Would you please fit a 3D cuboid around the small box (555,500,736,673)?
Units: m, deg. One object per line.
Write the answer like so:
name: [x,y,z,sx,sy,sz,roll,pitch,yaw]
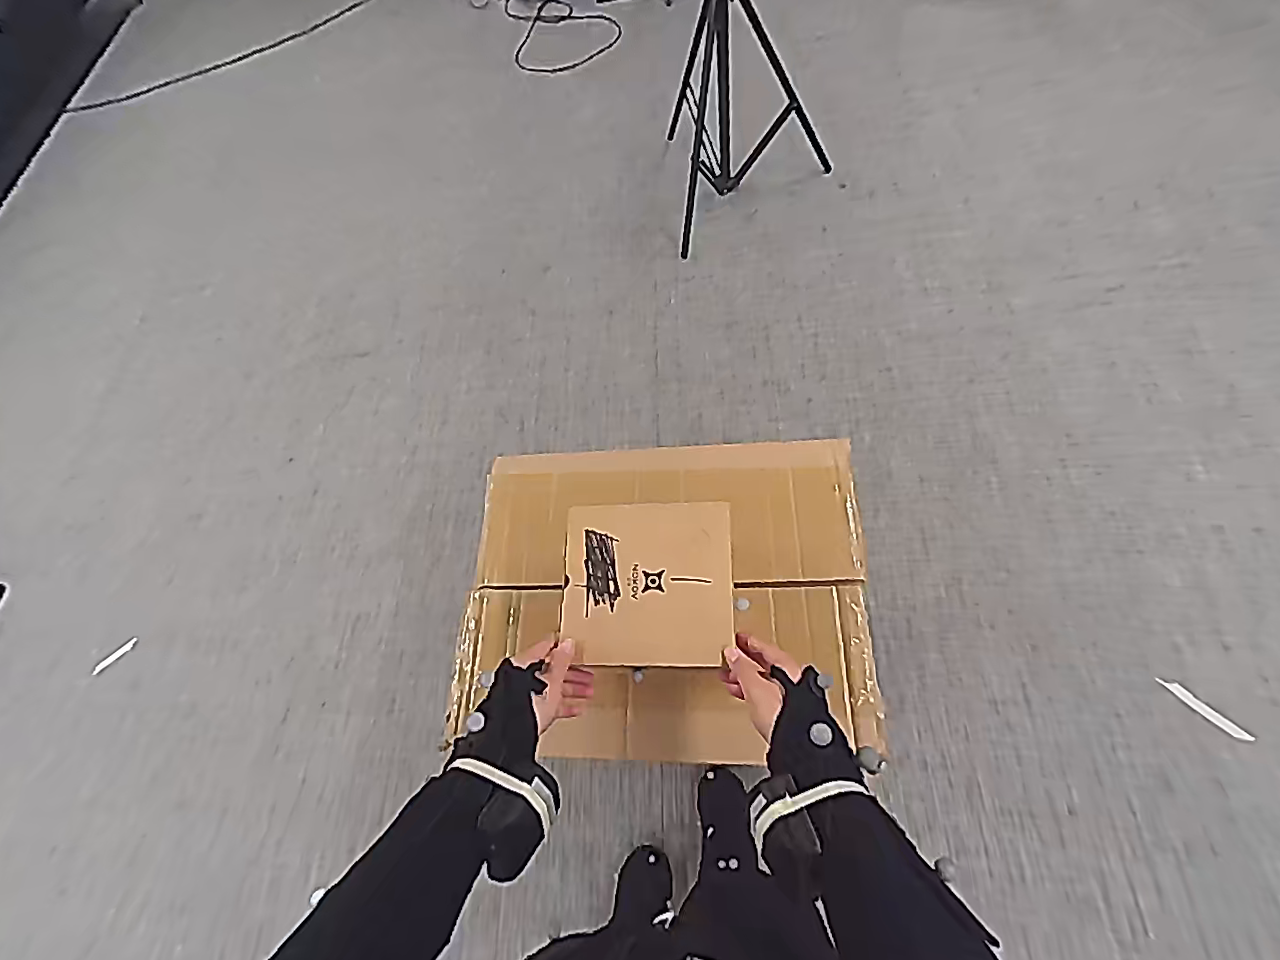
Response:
small box: [0.017,0.129,0.617,0.179,0.176,0.168,-2,68,9]
